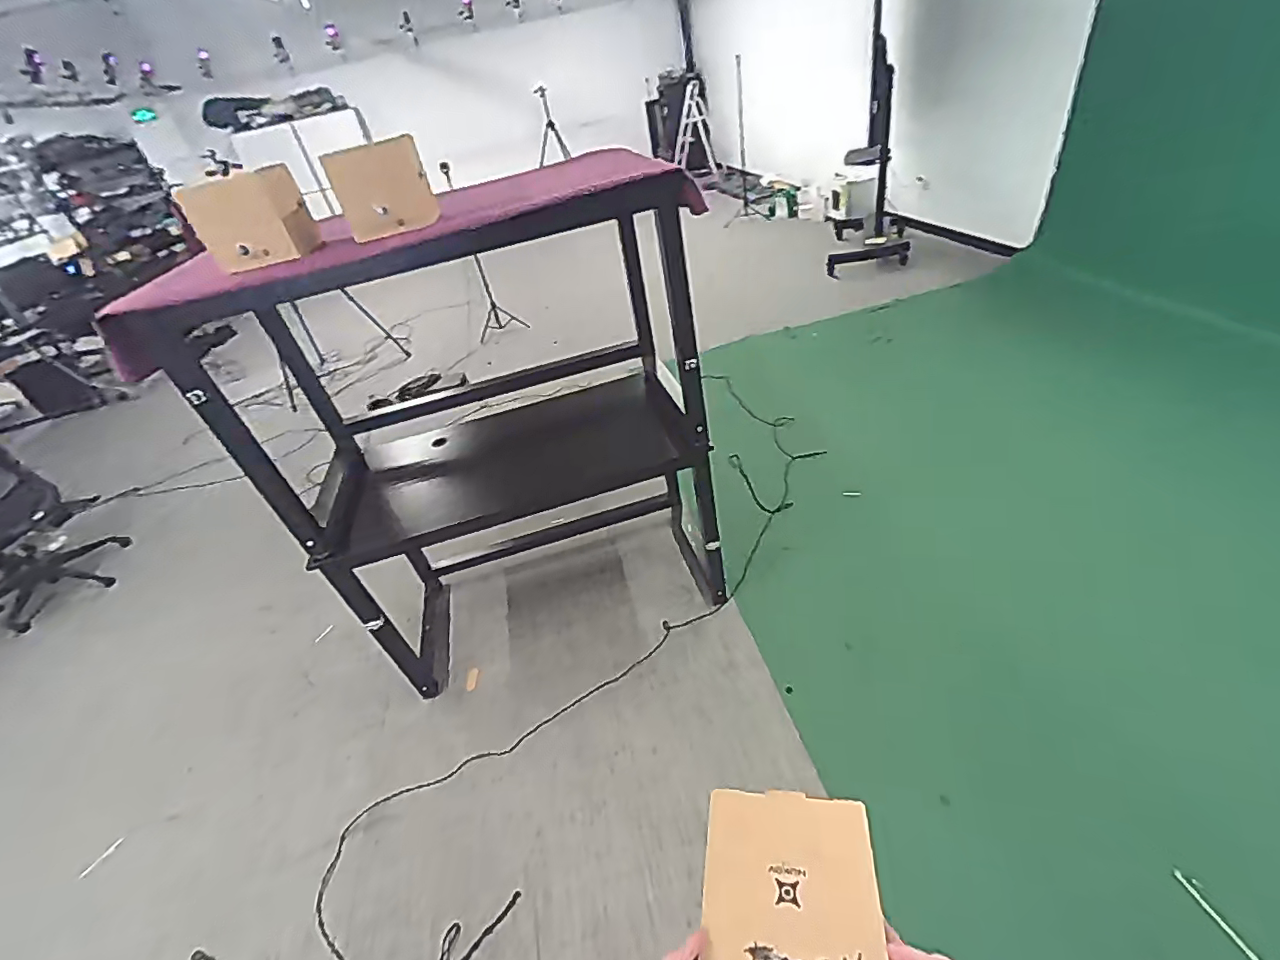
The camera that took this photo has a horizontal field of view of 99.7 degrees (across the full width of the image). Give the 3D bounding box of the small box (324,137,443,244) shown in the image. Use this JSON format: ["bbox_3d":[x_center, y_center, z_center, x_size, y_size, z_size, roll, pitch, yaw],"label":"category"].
[{"bbox_3d":[-0.543,-0.629,1.175,0.168,0.176,0.179,-15,37,-3],"label":"small box"}]

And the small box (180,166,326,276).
[{"bbox_3d":[-0.809,-0.554,1.158,0.168,0.176,0.179,-15,37,-1],"label":"small box"}]

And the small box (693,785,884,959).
[{"bbox_3d":[0.154,0.458,0.565,0.168,0.176,0.179,-4,30,15],"label":"small box"}]
